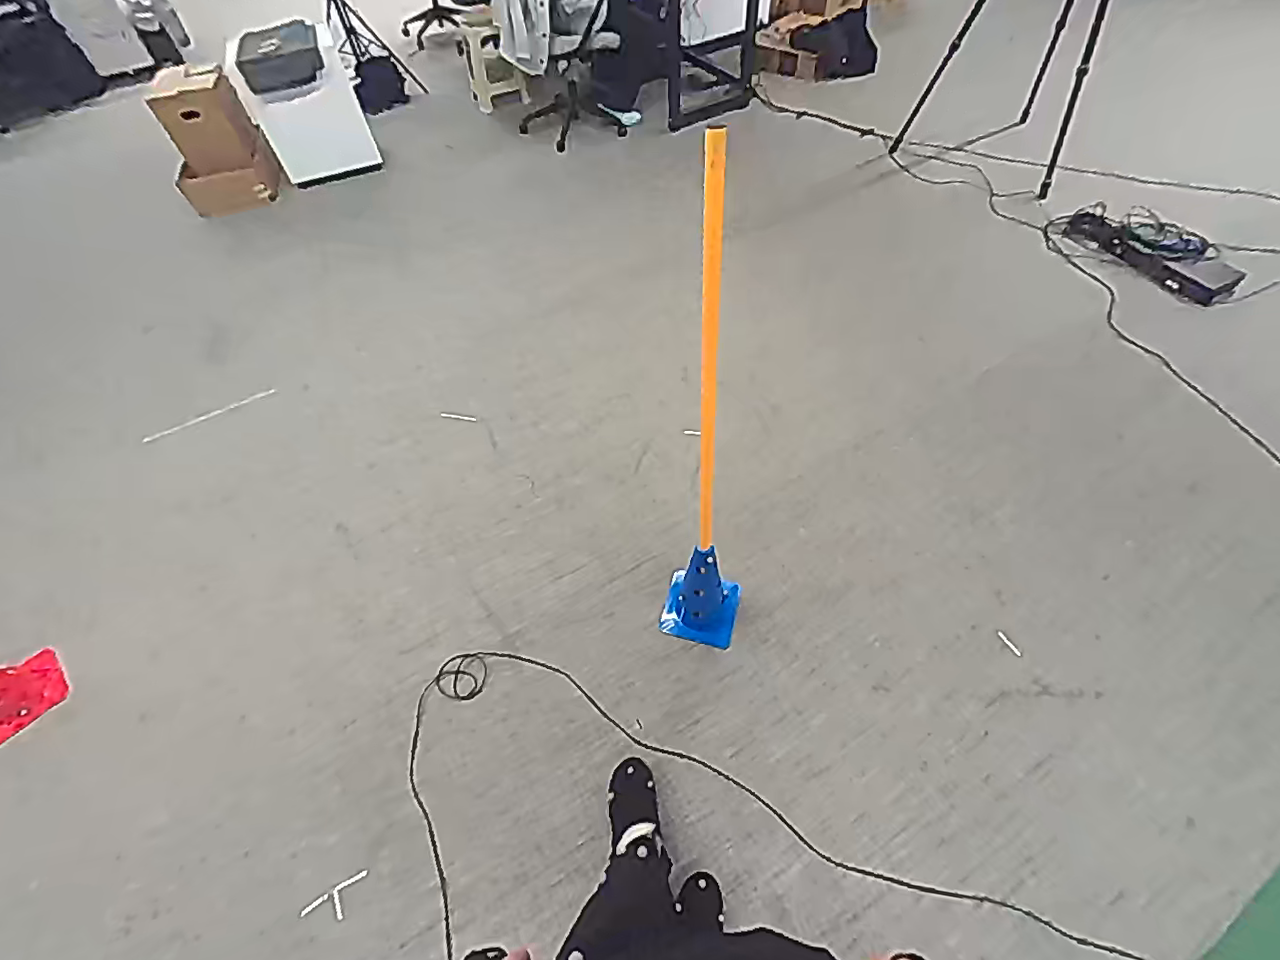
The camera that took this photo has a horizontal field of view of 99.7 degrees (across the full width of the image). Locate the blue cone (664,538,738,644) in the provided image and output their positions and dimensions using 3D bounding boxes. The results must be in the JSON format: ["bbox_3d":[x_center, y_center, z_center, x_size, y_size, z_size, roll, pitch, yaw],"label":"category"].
[{"bbox_3d":[0.160,0.257,1.378,0.192,0.380,0.193,10,55,12],"label":"blue cone"}]
